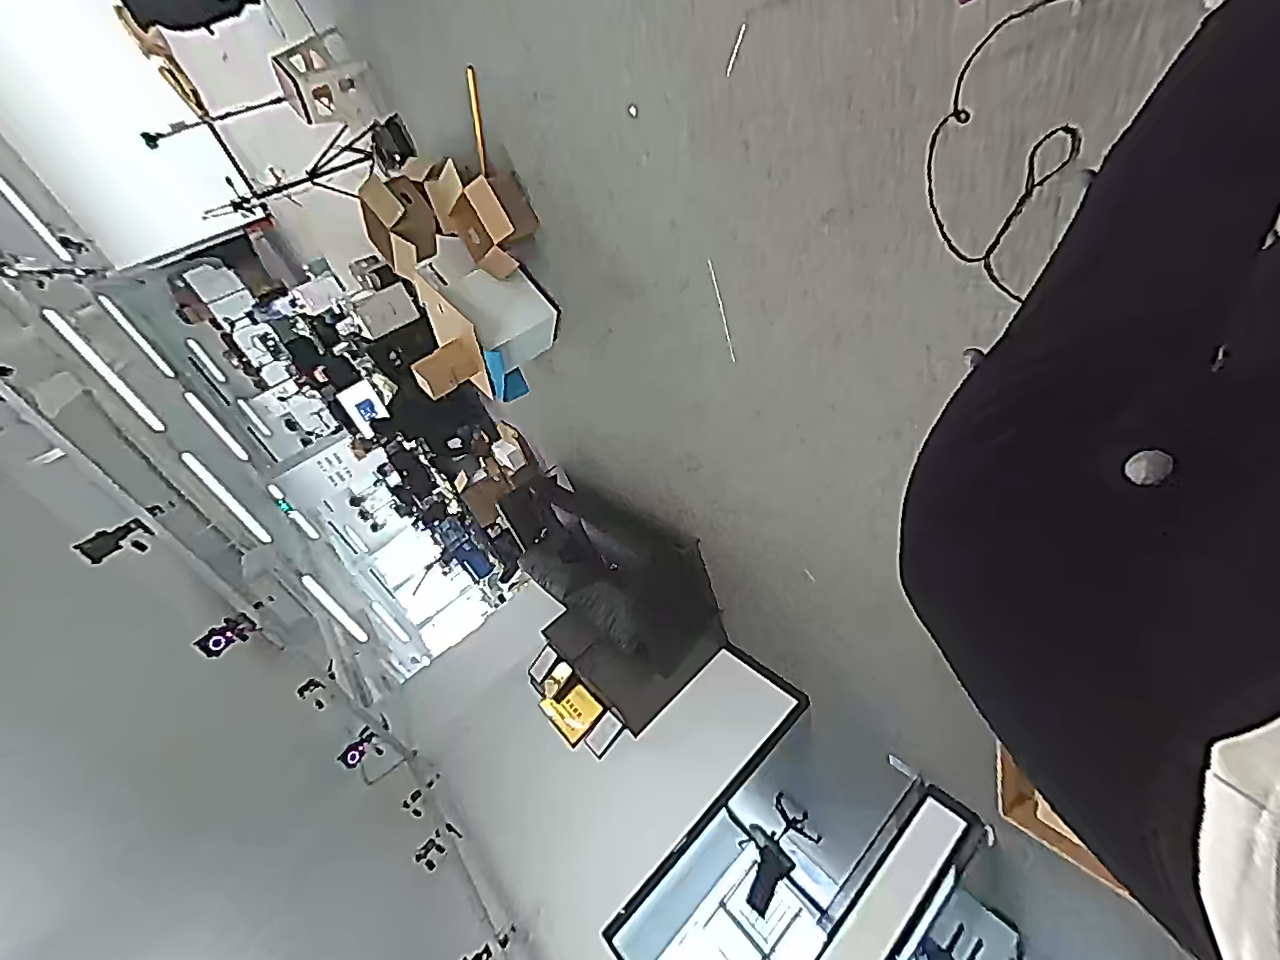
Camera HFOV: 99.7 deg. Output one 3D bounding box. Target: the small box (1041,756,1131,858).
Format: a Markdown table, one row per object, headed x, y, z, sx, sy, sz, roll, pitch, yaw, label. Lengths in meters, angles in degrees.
| x | y | z | sx | sy | sz | roll | pitch | yaw | label |
| --- | --- | --- | --- | --- | --- | --- | --- | --- | --- |
| 1.351 | 0.982 | 1.639 | 0.168 | 0.176 | 0.179 | 23 | 145 | 49 | small box |
